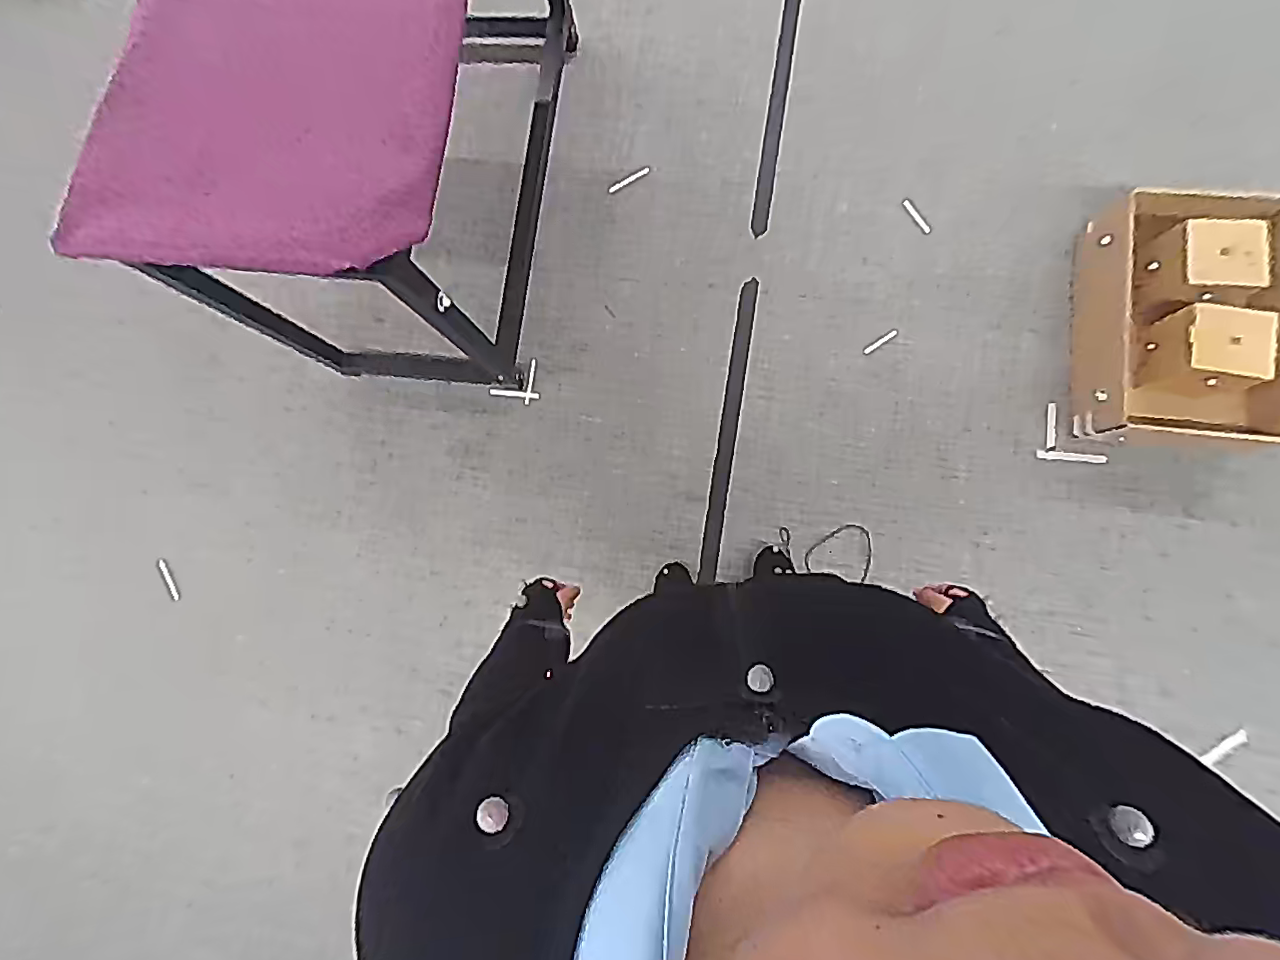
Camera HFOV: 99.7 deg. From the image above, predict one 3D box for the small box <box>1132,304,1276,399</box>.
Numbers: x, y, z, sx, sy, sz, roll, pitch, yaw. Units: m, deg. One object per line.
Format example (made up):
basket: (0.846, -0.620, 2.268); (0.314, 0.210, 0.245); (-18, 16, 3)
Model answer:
small box: (1.388, -0.310, 1.340); (0.179, 0.176, 0.168); (12, 83, 7)

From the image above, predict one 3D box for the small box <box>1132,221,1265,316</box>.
small box: (1.396, -0.527, 1.364); (0.179, 0.176, 0.168); (5, 85, 6)
